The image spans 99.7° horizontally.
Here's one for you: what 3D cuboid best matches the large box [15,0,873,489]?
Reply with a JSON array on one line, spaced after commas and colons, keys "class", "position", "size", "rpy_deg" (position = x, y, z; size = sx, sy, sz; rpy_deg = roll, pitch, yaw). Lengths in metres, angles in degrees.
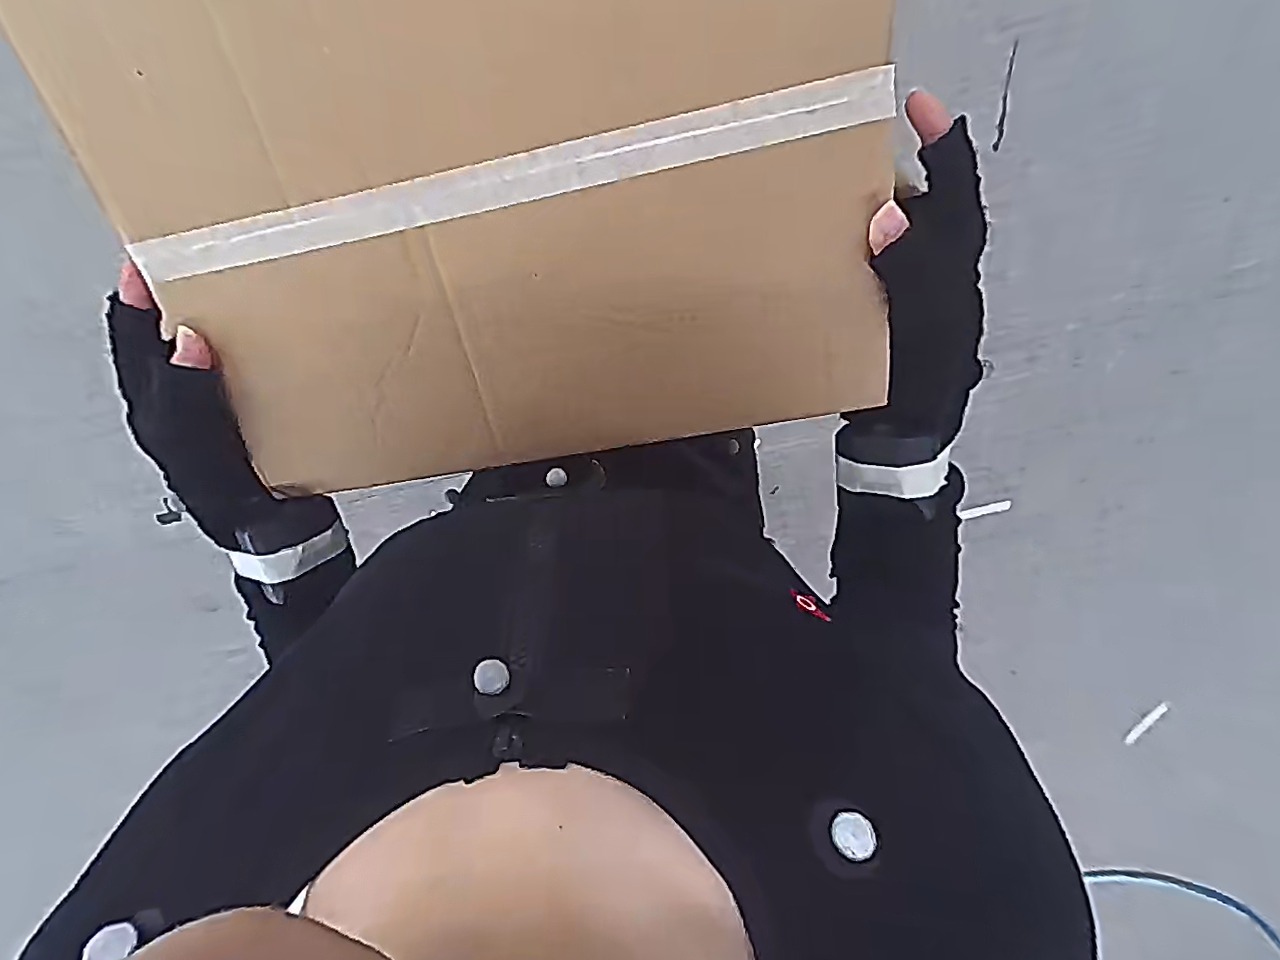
[{"class": "large box", "position": [-0.074, -0.227, 0.418], "size": [0.408, 0.320, 0.320], "rpy_deg": [-9, 116, 7]}]
